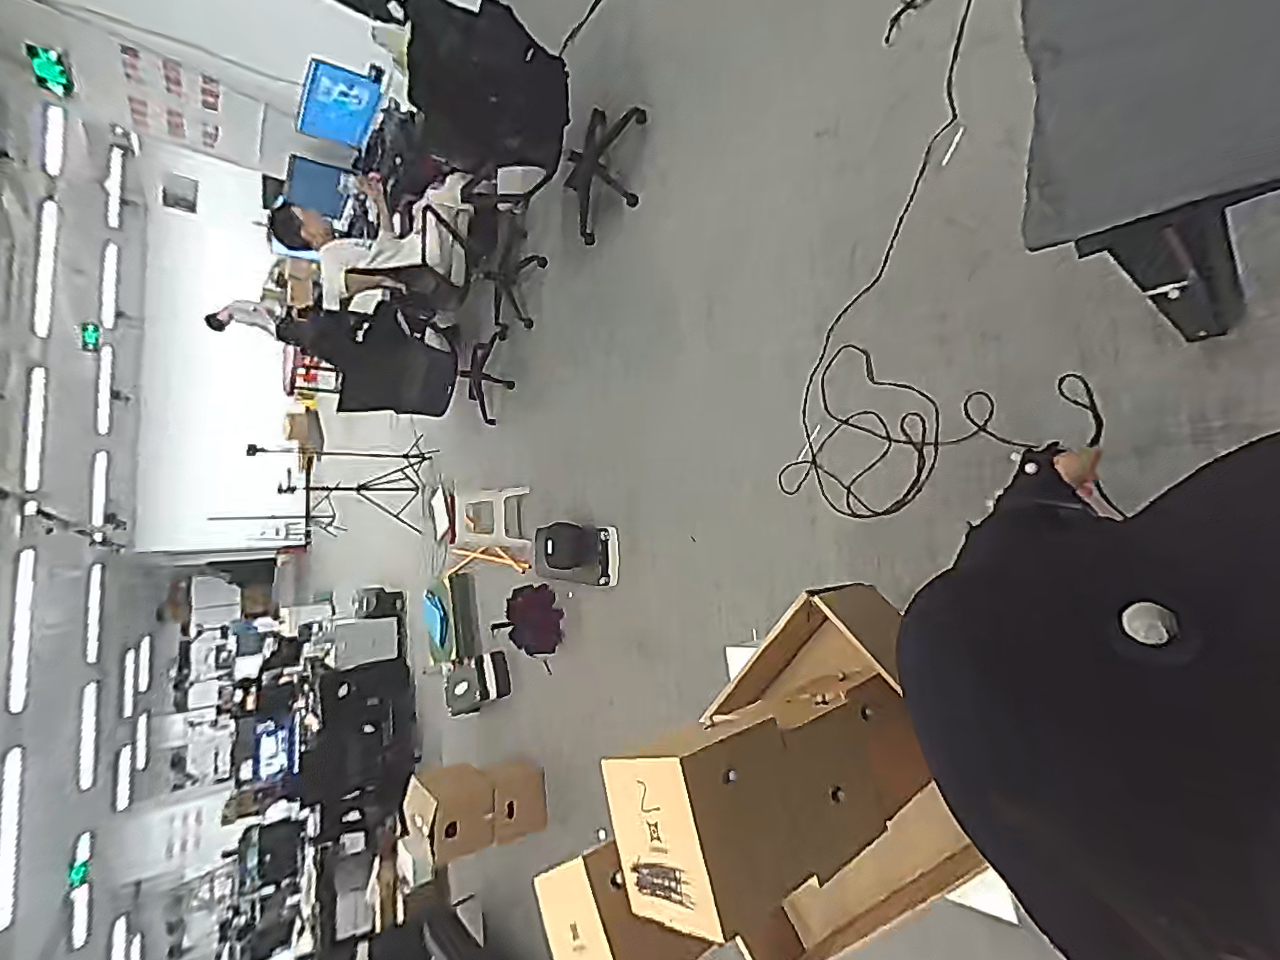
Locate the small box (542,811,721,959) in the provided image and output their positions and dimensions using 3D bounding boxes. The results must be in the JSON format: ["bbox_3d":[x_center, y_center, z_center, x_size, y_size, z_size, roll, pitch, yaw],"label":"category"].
[{"bbox_3d":[-0.015,0.621,0.802,0.168,0.176,0.179,-51,54,37],"label":"small box"}]

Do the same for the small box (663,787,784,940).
[{"bbox_3d":[0.106,0.638,0.914,0.179,0.176,0.168,-46,58,38],"label":"small box"}]

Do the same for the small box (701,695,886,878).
[{"bbox_3d":[0.218,0.417,0.777,0.168,0.176,0.179,-27,71,49],"label":"small box"}]
